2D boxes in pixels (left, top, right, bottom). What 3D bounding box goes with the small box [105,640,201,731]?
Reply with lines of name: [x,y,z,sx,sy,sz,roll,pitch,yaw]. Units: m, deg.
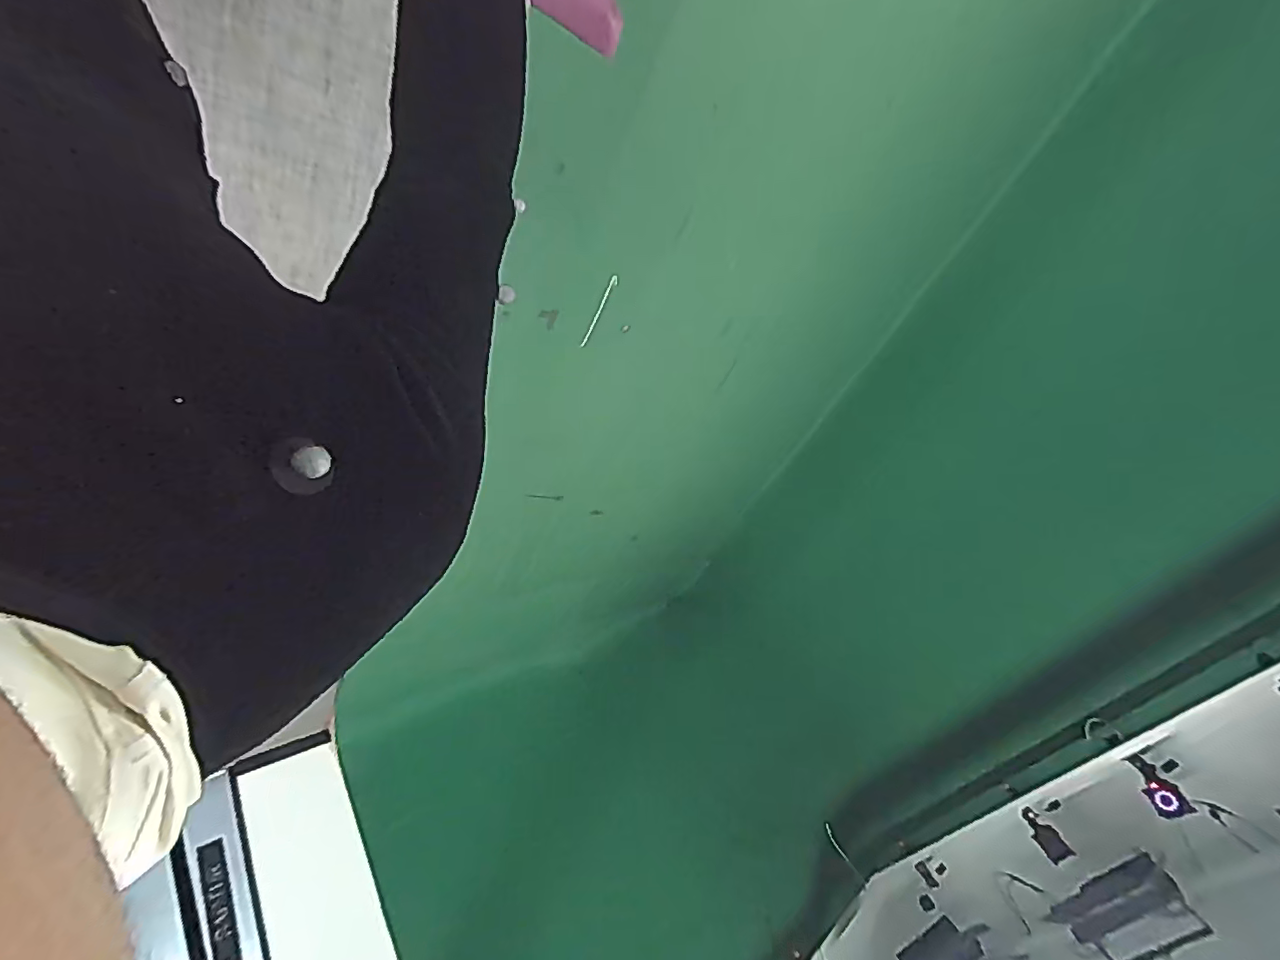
small box: [-1.422,0.590,1.576,0.179,0.176,0.168,4,130,-51]
